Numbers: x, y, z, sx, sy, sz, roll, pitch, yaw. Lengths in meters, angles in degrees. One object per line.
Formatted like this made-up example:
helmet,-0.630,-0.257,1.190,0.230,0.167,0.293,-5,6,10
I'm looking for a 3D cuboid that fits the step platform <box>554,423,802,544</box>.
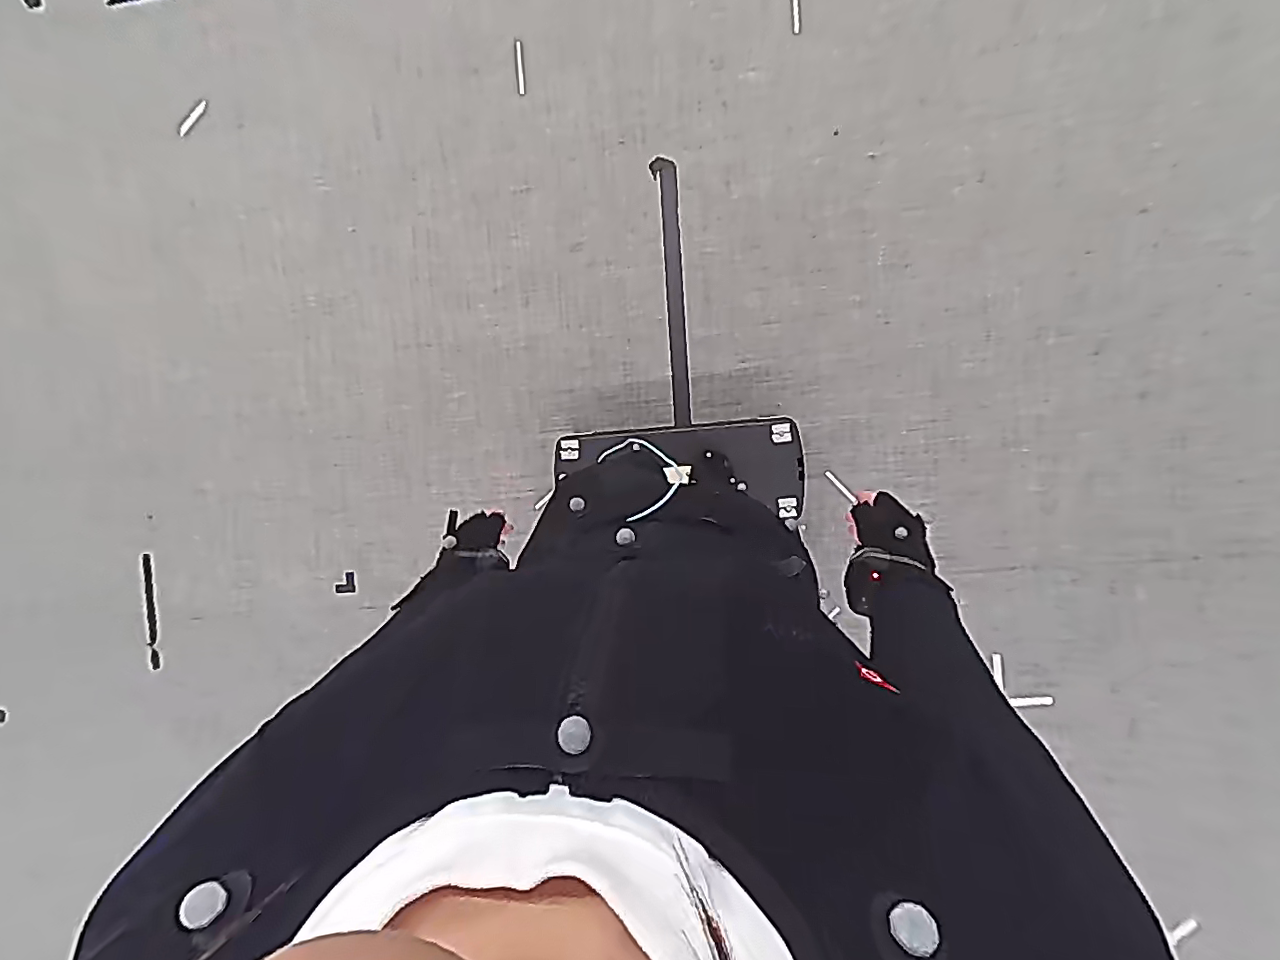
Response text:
step platform,0.103,0.011,1.531,0.684,0.204,0.286,-5,94,6
